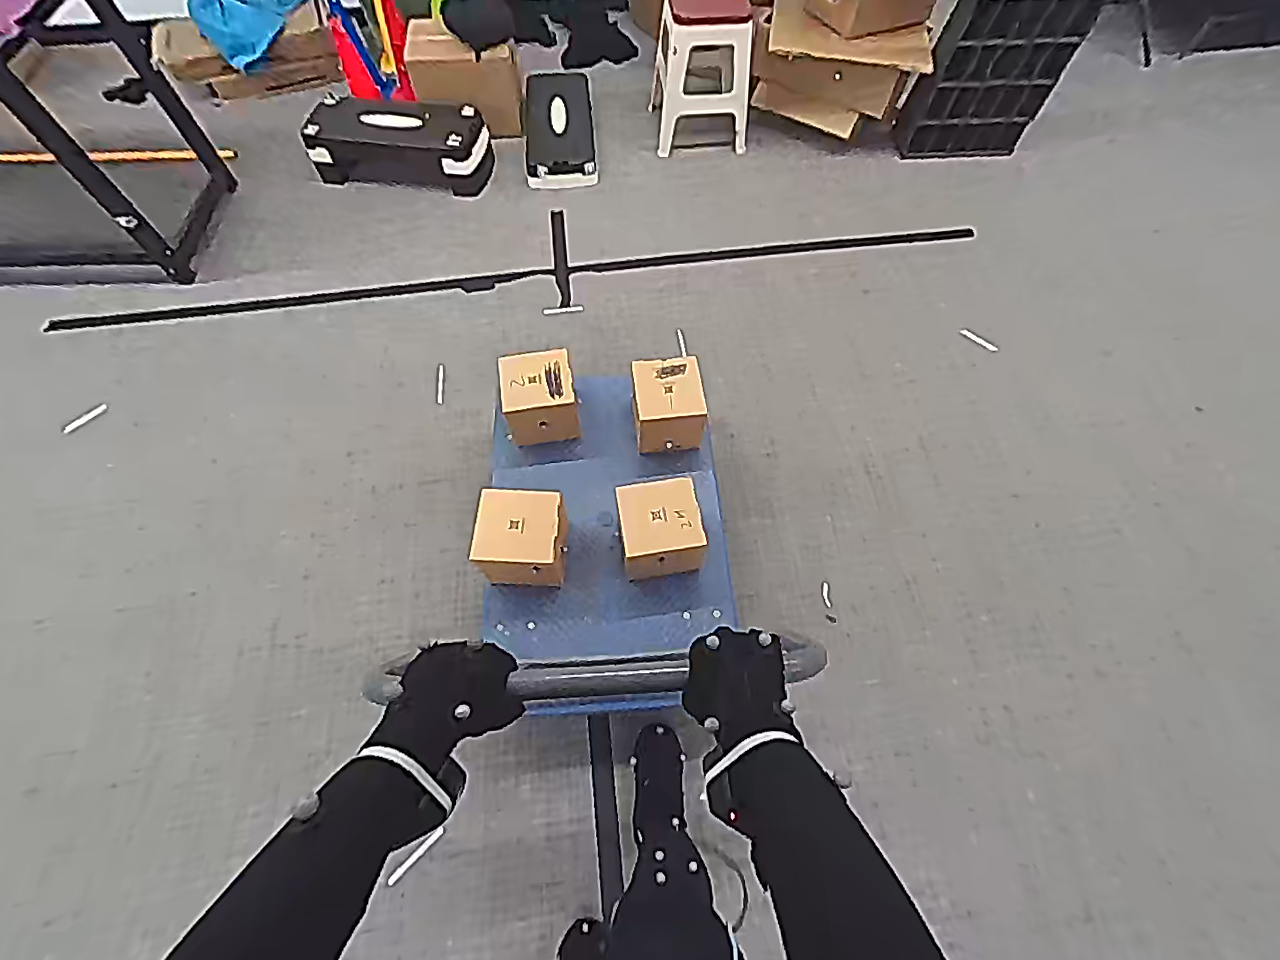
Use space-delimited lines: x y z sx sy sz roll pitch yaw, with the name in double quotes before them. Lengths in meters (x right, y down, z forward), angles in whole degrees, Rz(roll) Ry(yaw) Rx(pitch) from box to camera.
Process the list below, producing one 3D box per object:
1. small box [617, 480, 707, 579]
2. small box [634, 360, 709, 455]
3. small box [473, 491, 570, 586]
"small box" 0.046 0.119 1.238 0.179 0.176 0.168 -8 64 -4
"small box" 0.074 -0.183 1.388 0.168 0.176 0.179 -6 65 -3
"small box" -0.260 0.136 1.227 0.179 0.176 0.168 3 63 -1
